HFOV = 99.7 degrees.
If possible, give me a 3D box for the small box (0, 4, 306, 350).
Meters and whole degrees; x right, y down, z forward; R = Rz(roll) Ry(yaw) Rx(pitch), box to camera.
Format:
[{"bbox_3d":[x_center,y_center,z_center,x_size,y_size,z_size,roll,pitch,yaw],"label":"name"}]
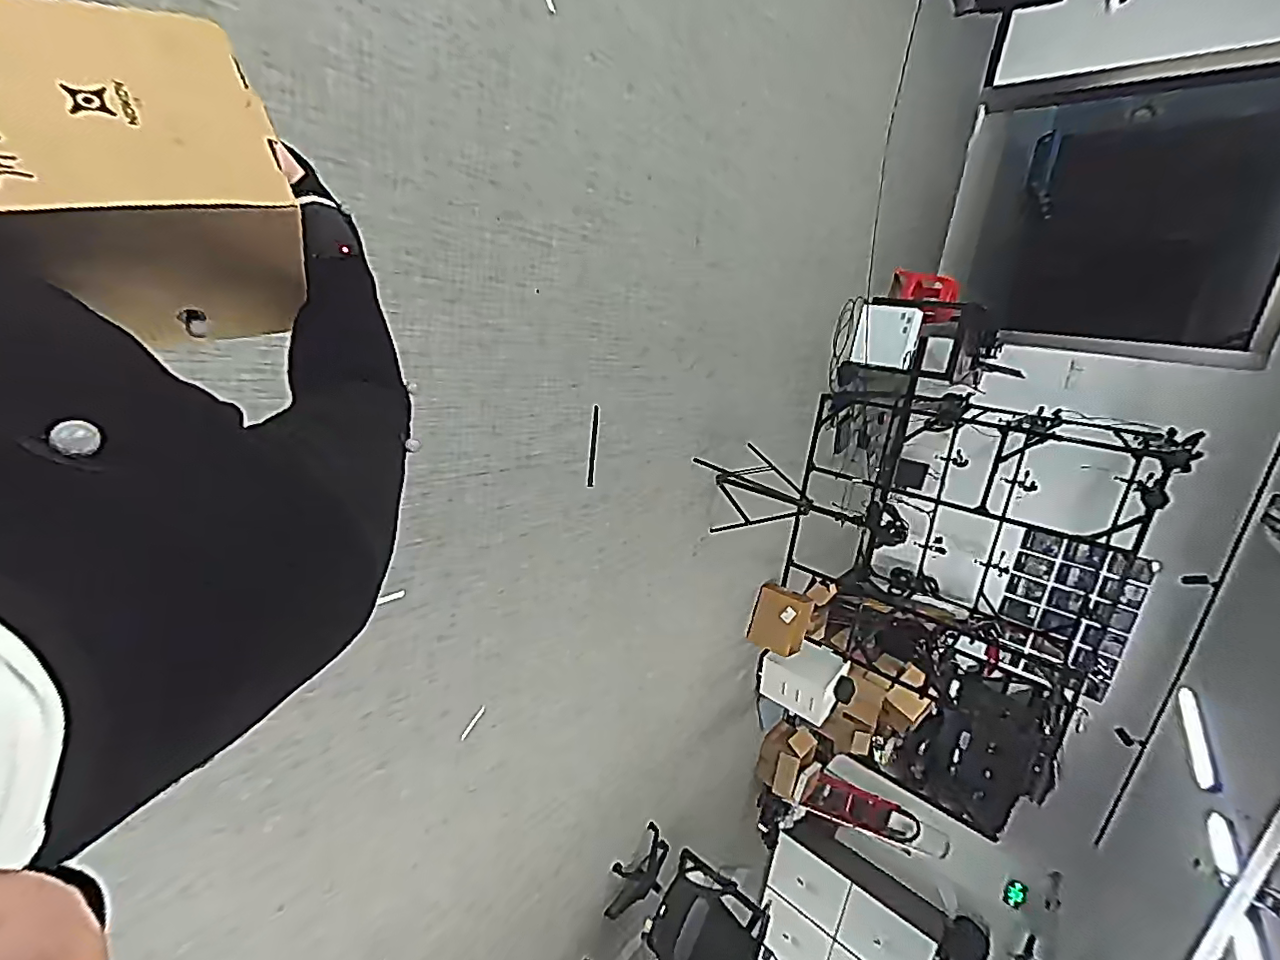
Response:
[{"bbox_3d":[-0.396,-0.227,0.441,0.179,0.176,0.168,-21,82,-34],"label":"small box"}]
